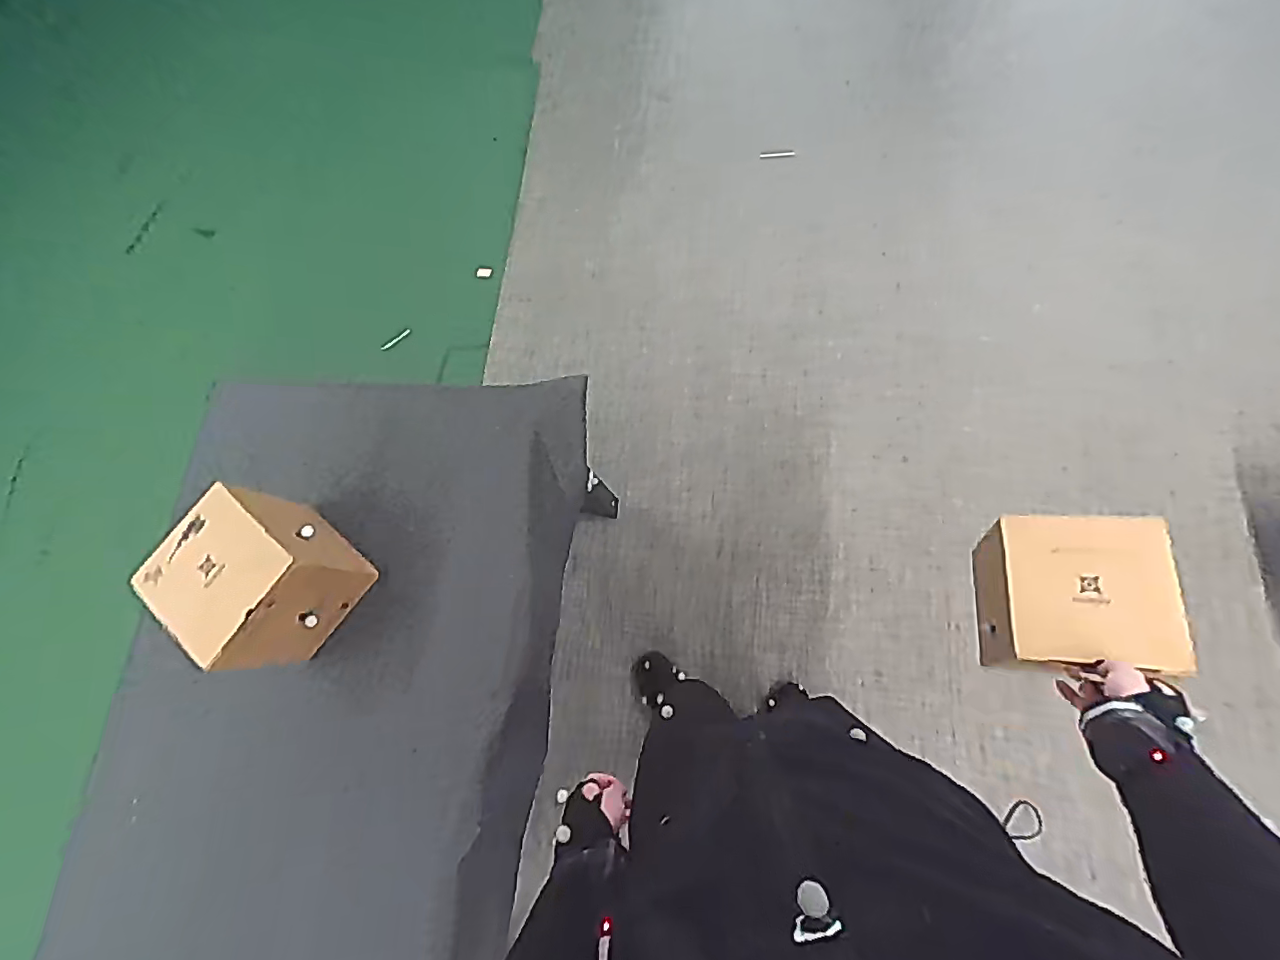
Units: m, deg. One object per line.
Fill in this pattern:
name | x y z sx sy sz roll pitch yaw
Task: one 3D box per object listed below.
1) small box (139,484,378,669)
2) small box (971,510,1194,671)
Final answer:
small box | -0.512 0.133 0.752 0.179 0.176 0.168 36 83 15
small box | 0.542 0.145 0.693 0.168 0.176 0.179 0 71 18
